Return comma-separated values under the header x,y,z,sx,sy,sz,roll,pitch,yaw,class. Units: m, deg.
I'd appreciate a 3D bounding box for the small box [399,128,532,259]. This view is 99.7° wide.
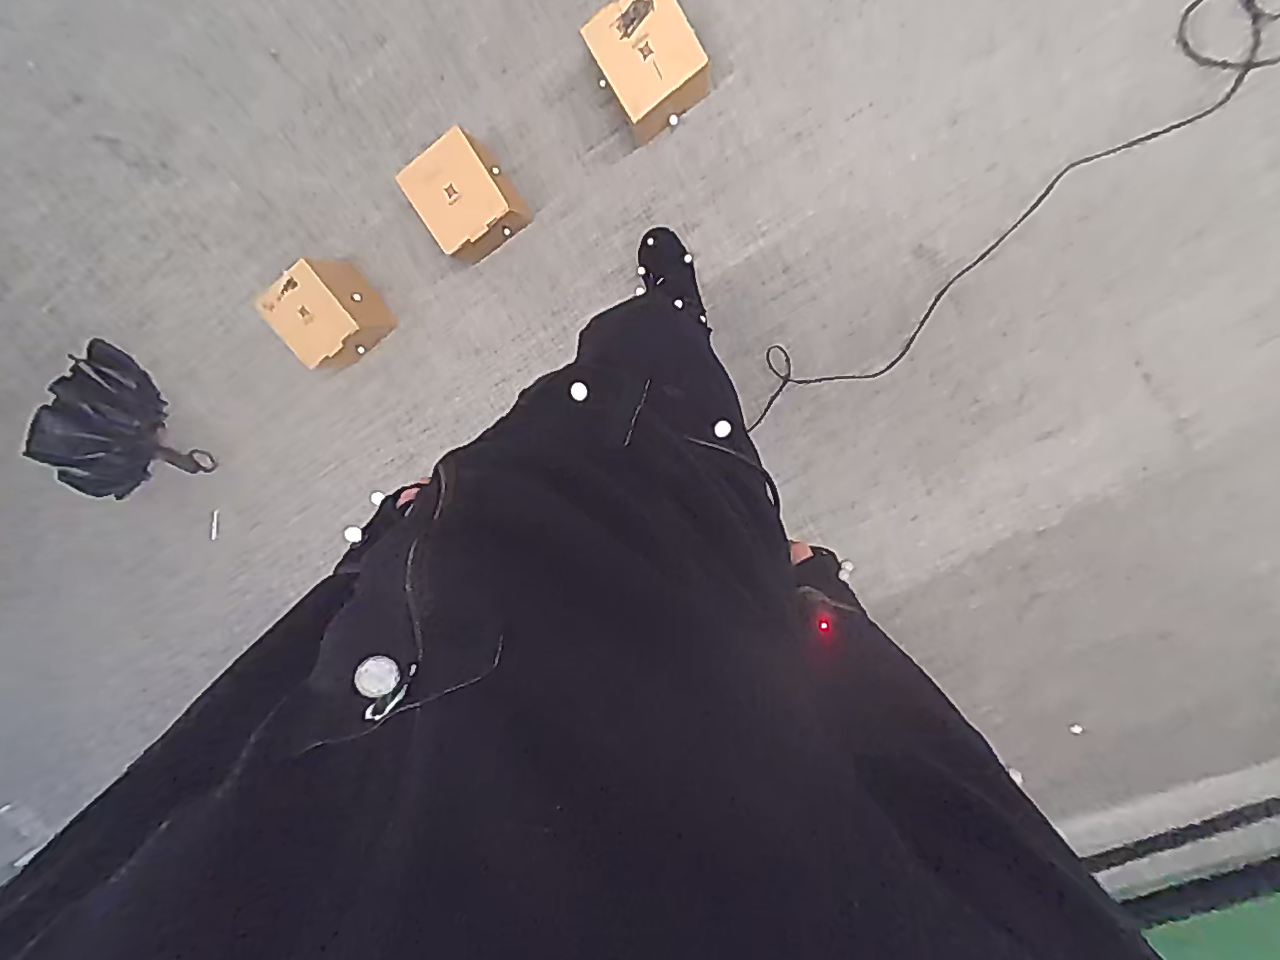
x,y,z,sx,sy,sz,roll,pitch,yaw,class
-0.354,-0.586,1.138,0.168,0.176,0.179,-31,101,14,small box

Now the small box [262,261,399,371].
x,y,z,sx,sy,sz,roll,pitch,yaw,class
-0.699,-0.377,1.243,0.168,0.176,0.179,-34,102,15,small box

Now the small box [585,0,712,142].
x,y,z,sx,sy,sz,roll,pitch,yaw,class
0.021,-0.788,1.026,0.168,0.176,0.179,-31,103,16,small box
